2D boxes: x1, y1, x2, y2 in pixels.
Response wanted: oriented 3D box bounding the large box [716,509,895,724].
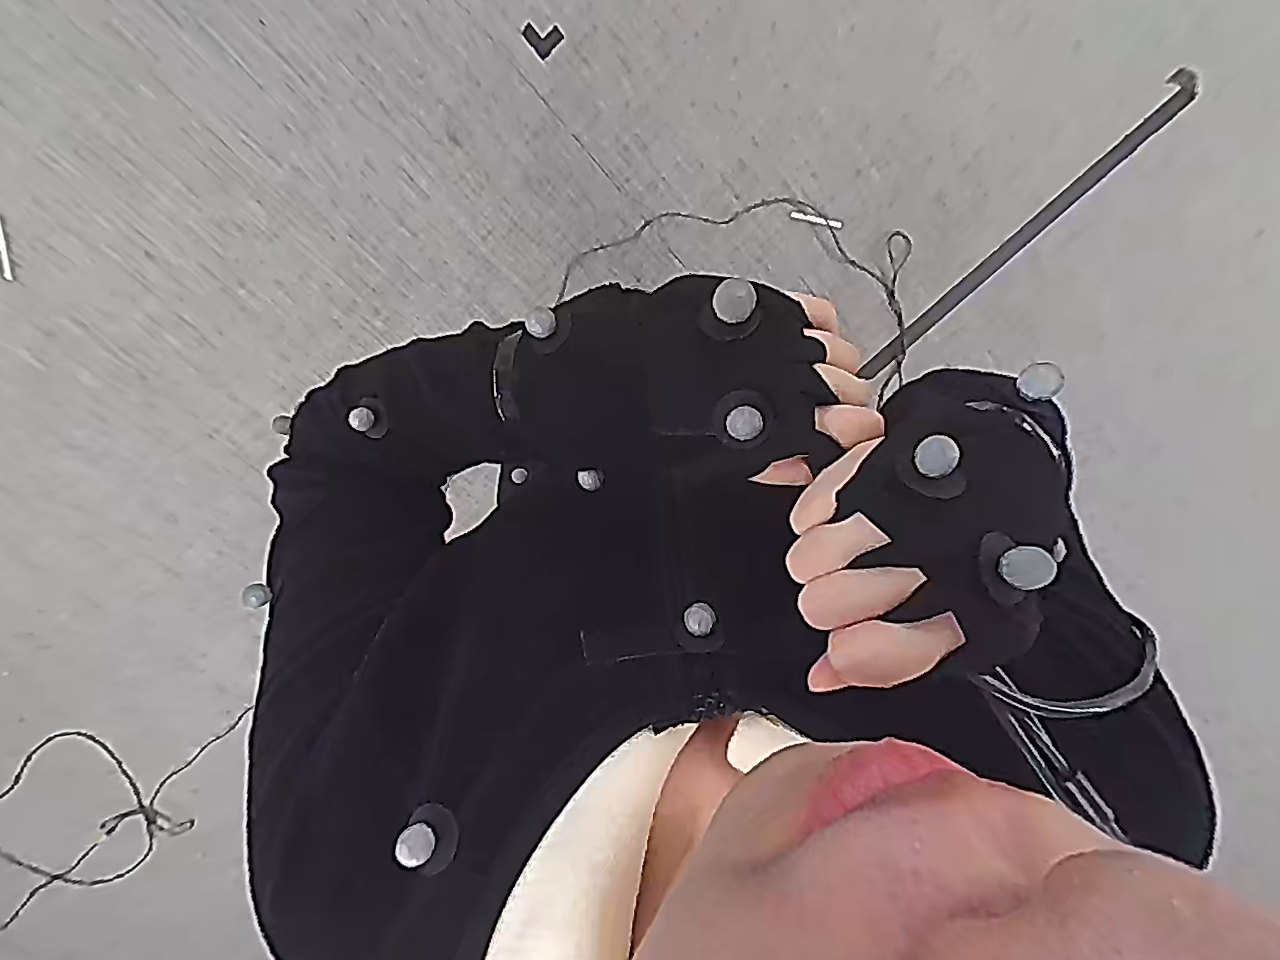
[{"bbox_3d":[0.378,0.317,1.332,0.320,0.320,0.408,-2,109,-6],"label":"large box"}]
